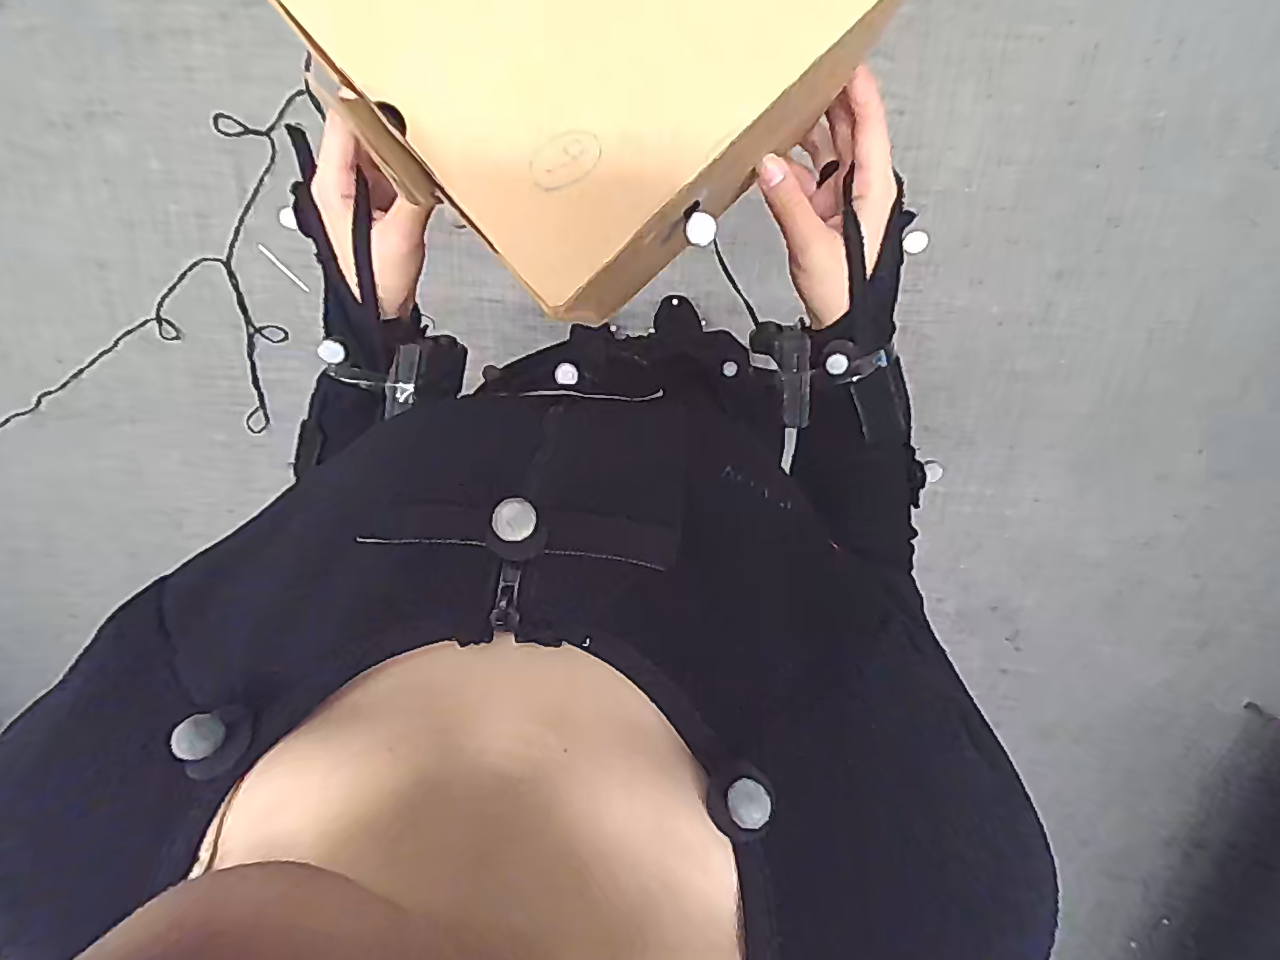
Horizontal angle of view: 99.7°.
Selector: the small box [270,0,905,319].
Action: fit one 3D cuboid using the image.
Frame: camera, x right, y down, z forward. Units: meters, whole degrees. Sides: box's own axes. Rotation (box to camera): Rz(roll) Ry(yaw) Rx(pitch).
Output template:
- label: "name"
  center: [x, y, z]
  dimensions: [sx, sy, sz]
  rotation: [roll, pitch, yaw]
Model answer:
- label: "small box"
  center: [-0.016, -0.195, 0.260]
  dimensions: [0.179, 0.176, 0.168]
  rotation: [-41, 100, 12]
